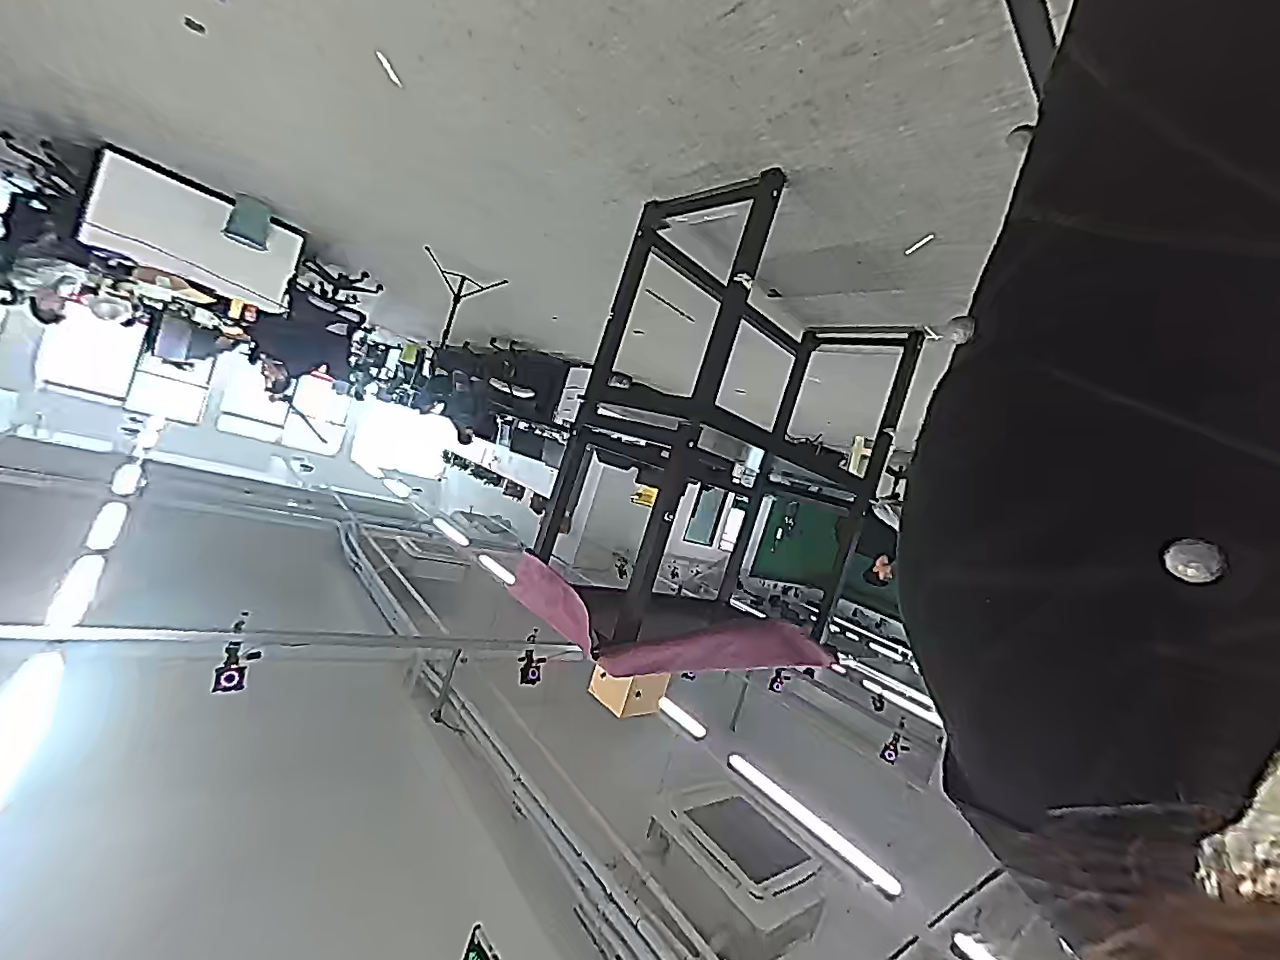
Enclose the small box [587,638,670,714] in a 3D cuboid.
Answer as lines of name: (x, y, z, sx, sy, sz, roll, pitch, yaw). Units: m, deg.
small box: (-0.035, 0.614, 1.718, 0.179, 0.176, 0.168, 14, -176, -44)
